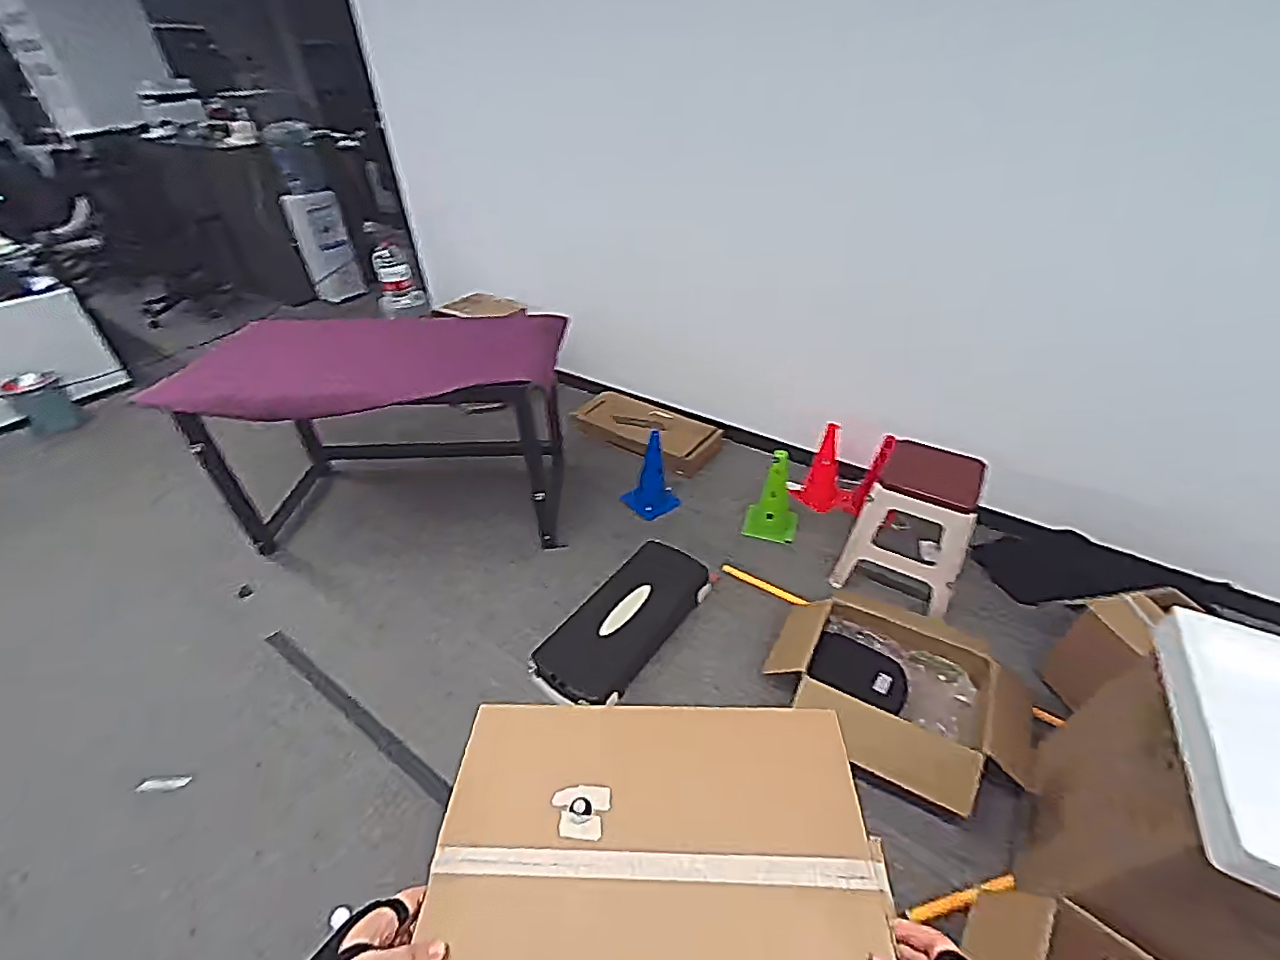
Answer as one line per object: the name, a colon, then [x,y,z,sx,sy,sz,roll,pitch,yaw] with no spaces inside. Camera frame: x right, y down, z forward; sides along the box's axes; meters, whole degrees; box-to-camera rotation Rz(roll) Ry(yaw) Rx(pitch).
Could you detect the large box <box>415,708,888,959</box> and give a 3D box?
large box: [0.022,0.478,0.589,0.408,0.320,0.320,-4,37,6]
